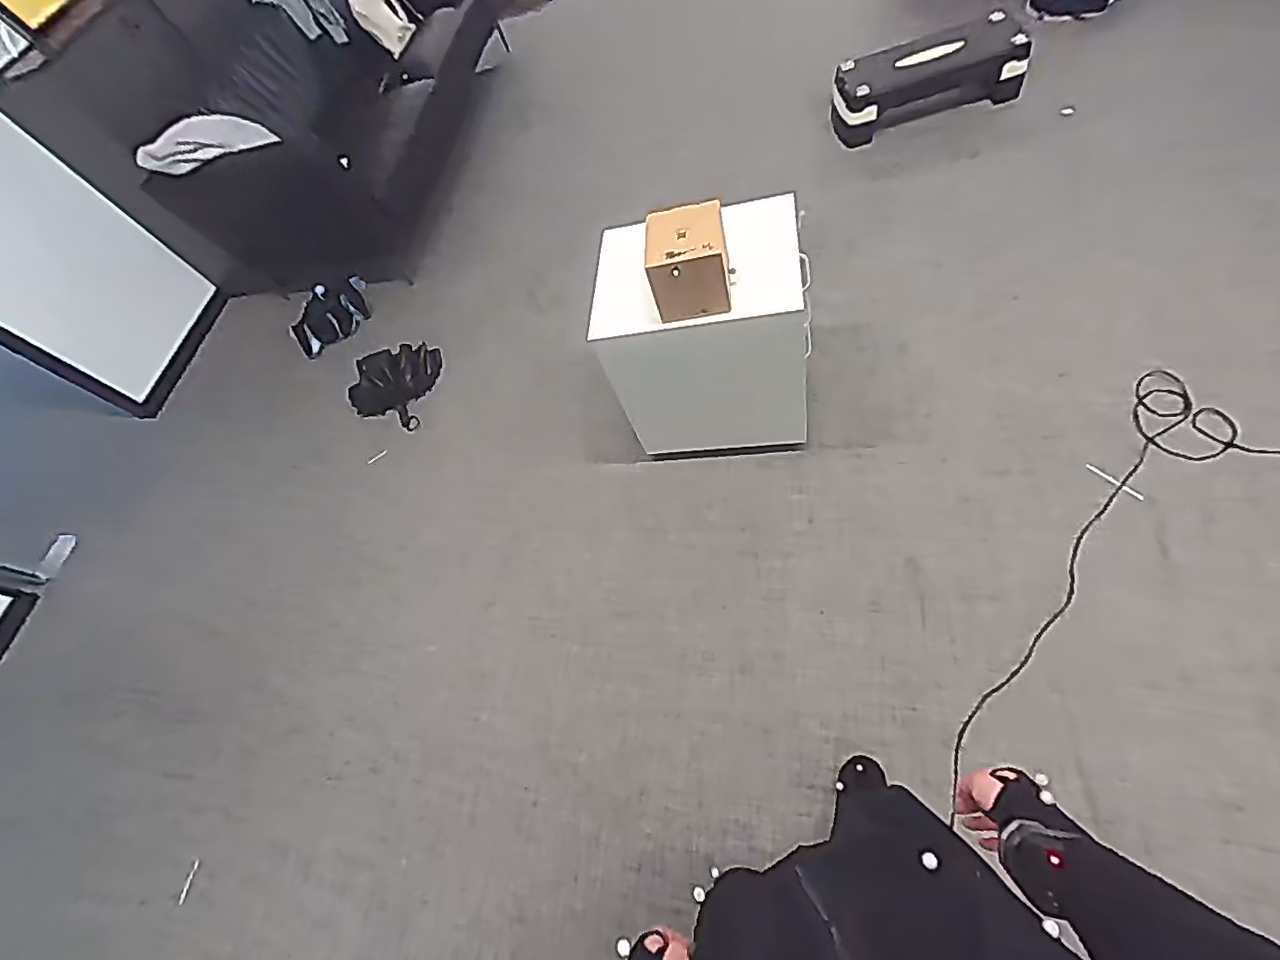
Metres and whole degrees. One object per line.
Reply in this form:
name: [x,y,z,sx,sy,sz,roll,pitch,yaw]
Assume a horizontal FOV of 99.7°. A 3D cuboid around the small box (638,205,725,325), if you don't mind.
small box: [0.098,-0.482,1.227,0.168,0.176,0.179,-7,59,14]
